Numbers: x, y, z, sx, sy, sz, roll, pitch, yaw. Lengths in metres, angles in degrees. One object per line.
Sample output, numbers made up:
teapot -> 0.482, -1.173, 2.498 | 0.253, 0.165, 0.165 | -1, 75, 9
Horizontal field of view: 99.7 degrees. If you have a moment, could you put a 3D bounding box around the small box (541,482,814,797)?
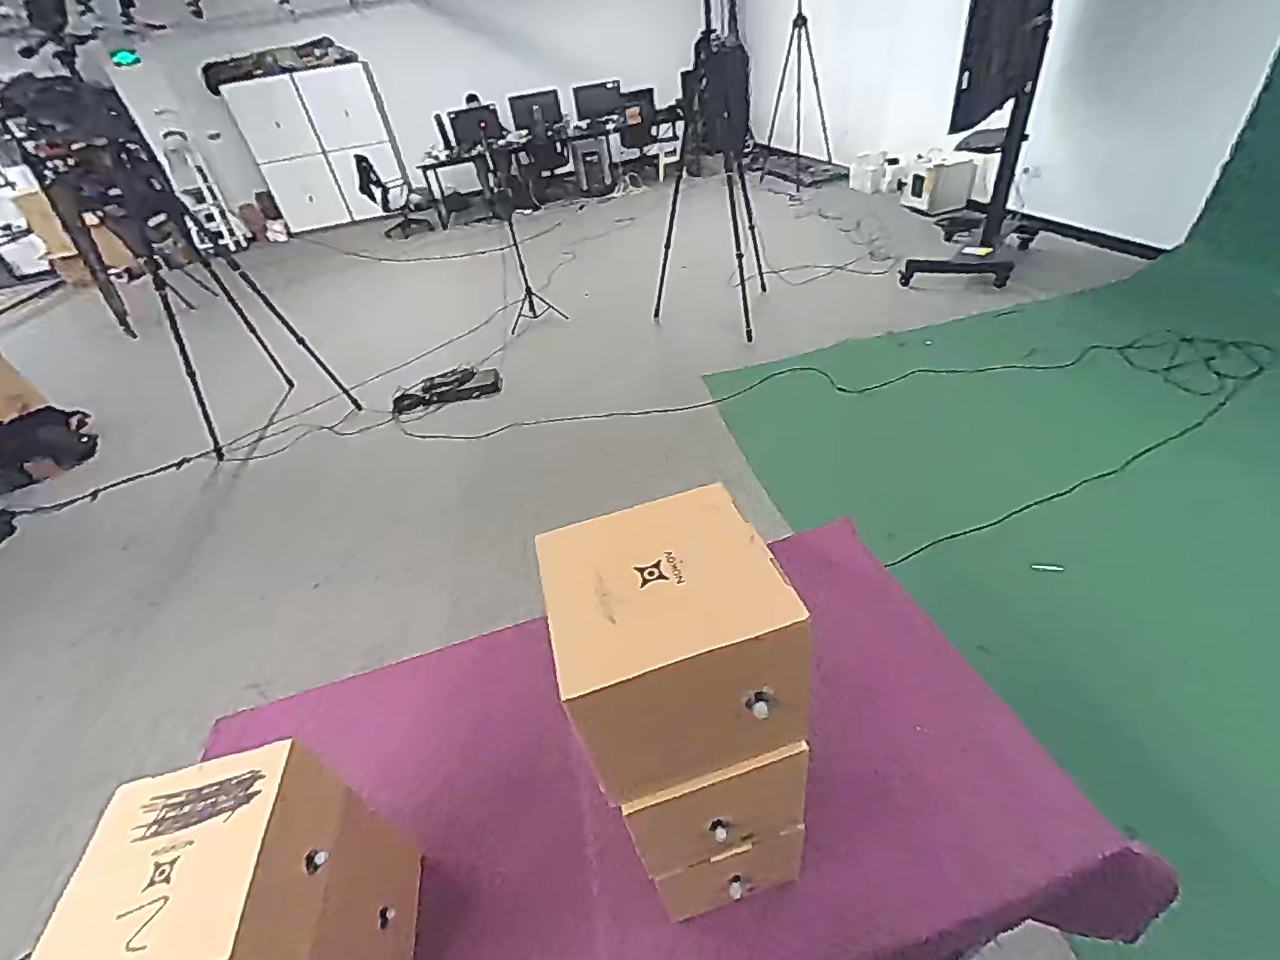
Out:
small box -> 0.027, 0.133, 0.464 | 0.179, 0.176, 0.168 | -16, 38, -6

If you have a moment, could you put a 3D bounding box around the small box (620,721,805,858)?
small box -> 0.056, 0.260, 0.563 | 0.168, 0.176, 0.179 | -15, 39, -7

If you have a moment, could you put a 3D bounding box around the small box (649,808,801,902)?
small box -> 0.083, 0.386, 0.667 | 0.168, 0.176, 0.179 | -15, 40, -6
